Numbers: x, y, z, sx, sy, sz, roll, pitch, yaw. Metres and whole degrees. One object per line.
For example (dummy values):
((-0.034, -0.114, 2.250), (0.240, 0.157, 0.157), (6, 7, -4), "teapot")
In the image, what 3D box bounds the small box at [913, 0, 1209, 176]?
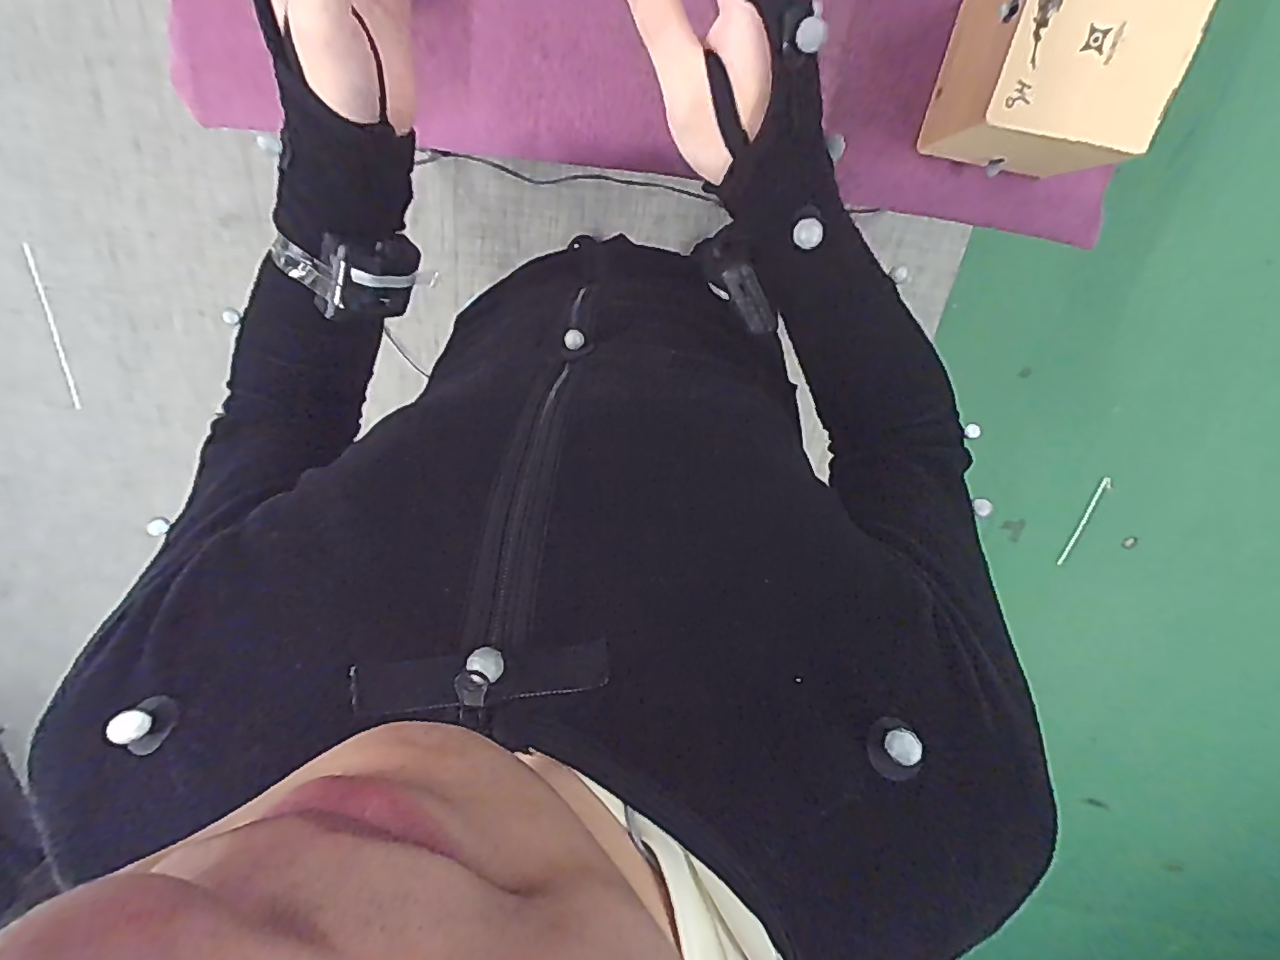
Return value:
((0.448, -0.453, 0.604), (0.179, 0.176, 0.168), (10, 112, -2), "small box")
